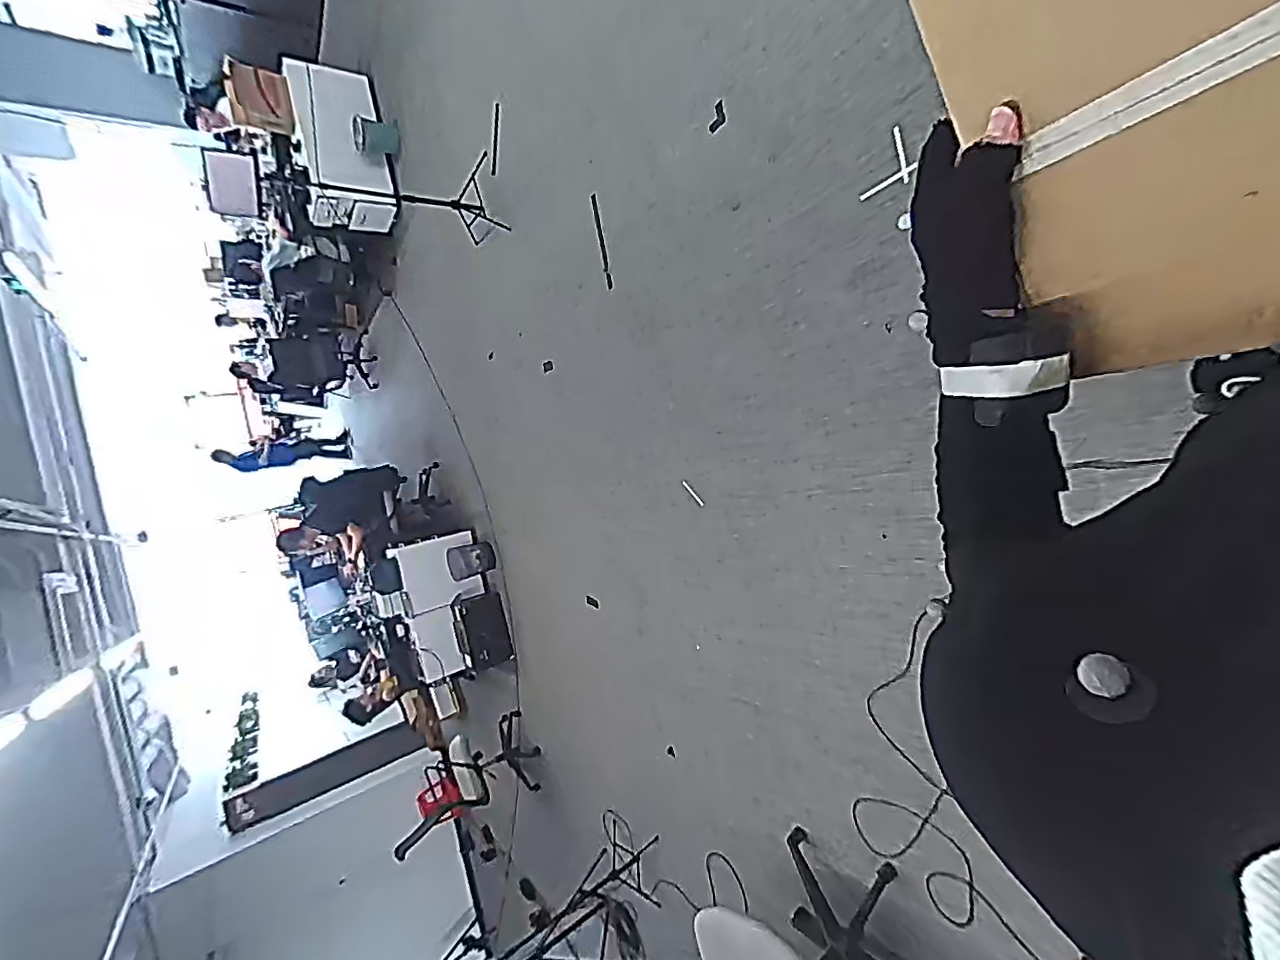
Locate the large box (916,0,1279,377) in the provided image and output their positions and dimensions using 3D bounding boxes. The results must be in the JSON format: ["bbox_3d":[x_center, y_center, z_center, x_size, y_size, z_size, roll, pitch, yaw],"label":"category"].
[{"bbox_3d":[0.436,-0.295,0.263,0.320,0.320,0.408,57,153,-16],"label":"large box"}]
